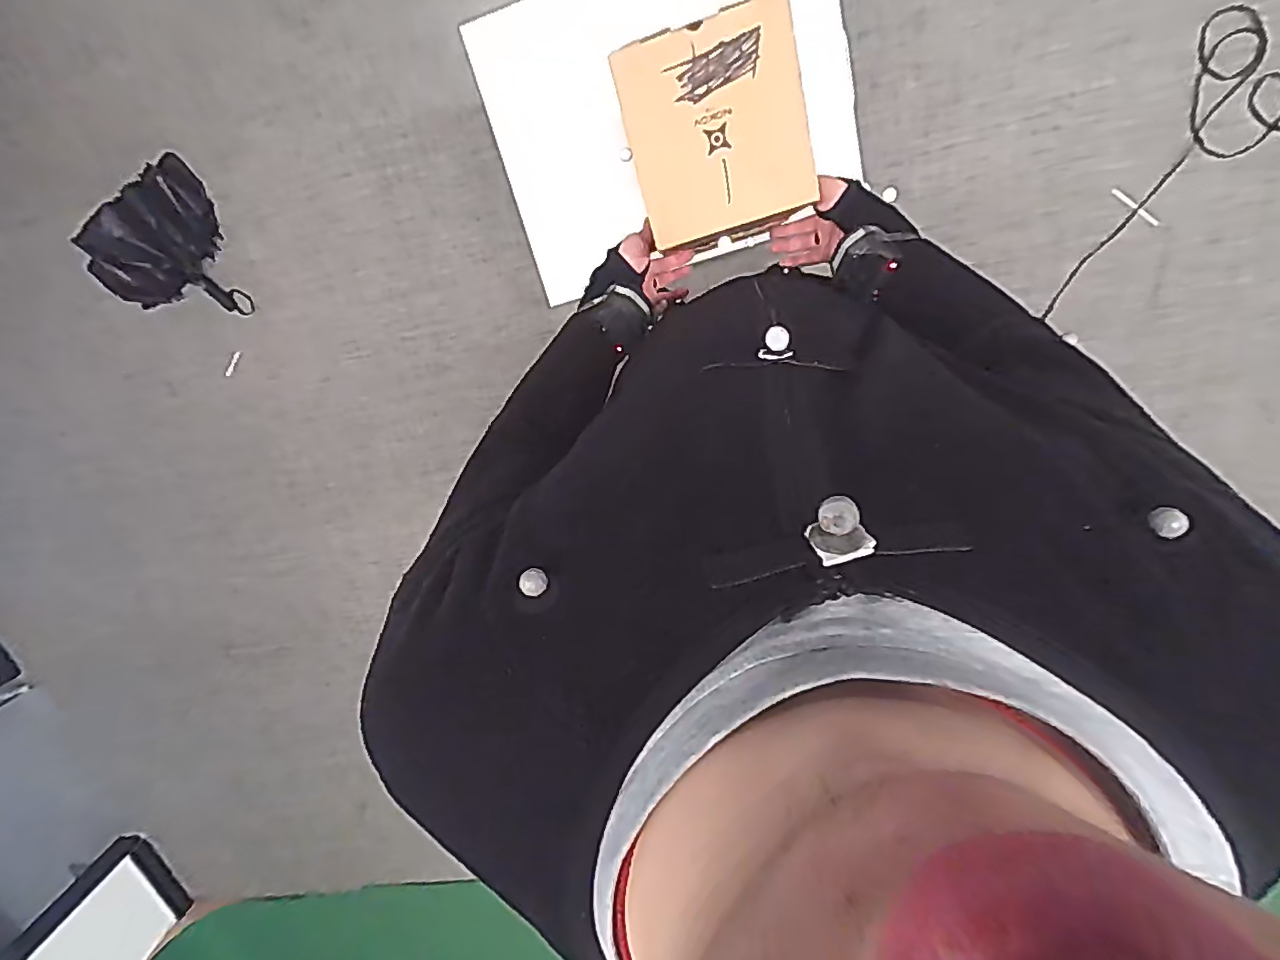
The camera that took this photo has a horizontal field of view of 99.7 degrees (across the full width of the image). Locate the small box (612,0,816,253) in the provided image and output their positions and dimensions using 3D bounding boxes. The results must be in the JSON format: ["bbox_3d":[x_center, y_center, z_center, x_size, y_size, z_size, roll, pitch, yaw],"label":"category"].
[{"bbox_3d":[0.077,-0.358,0.583,0.168,0.176,0.179,-13,110,10],"label":"small box"}]
